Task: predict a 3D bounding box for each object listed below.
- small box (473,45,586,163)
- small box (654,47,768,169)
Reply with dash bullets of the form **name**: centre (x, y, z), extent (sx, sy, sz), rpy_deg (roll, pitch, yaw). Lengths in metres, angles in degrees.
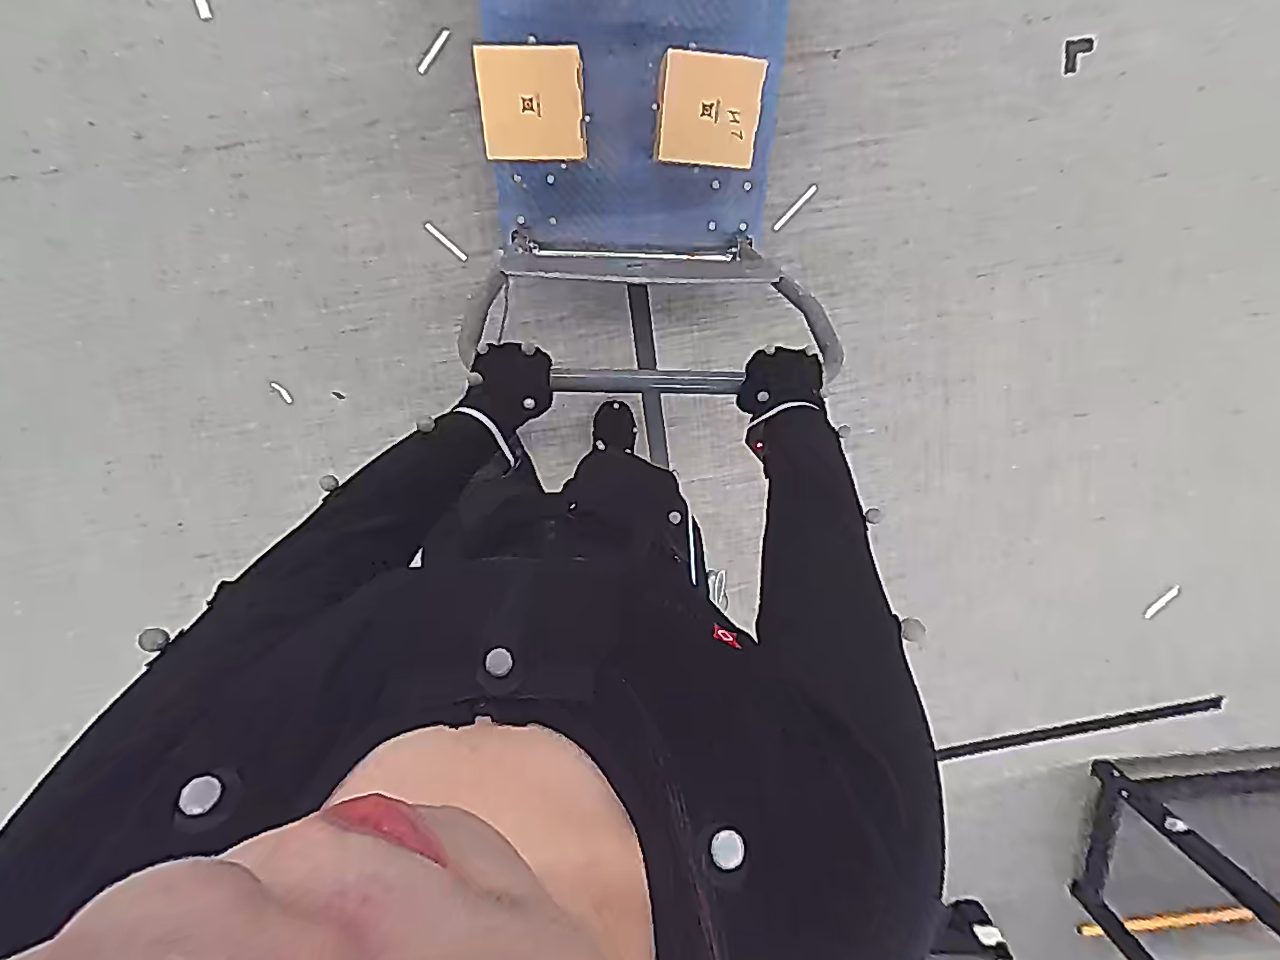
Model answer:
- **small box**: centre (-0.194, -0.688, 1.003), extent (0.179, 0.176, 0.168), rpy_deg (-4, 120, -3)
- **small box**: centre (0.122, -0.690, 1.021), extent (0.179, 0.176, 0.168), rpy_deg (3, 120, -5)
